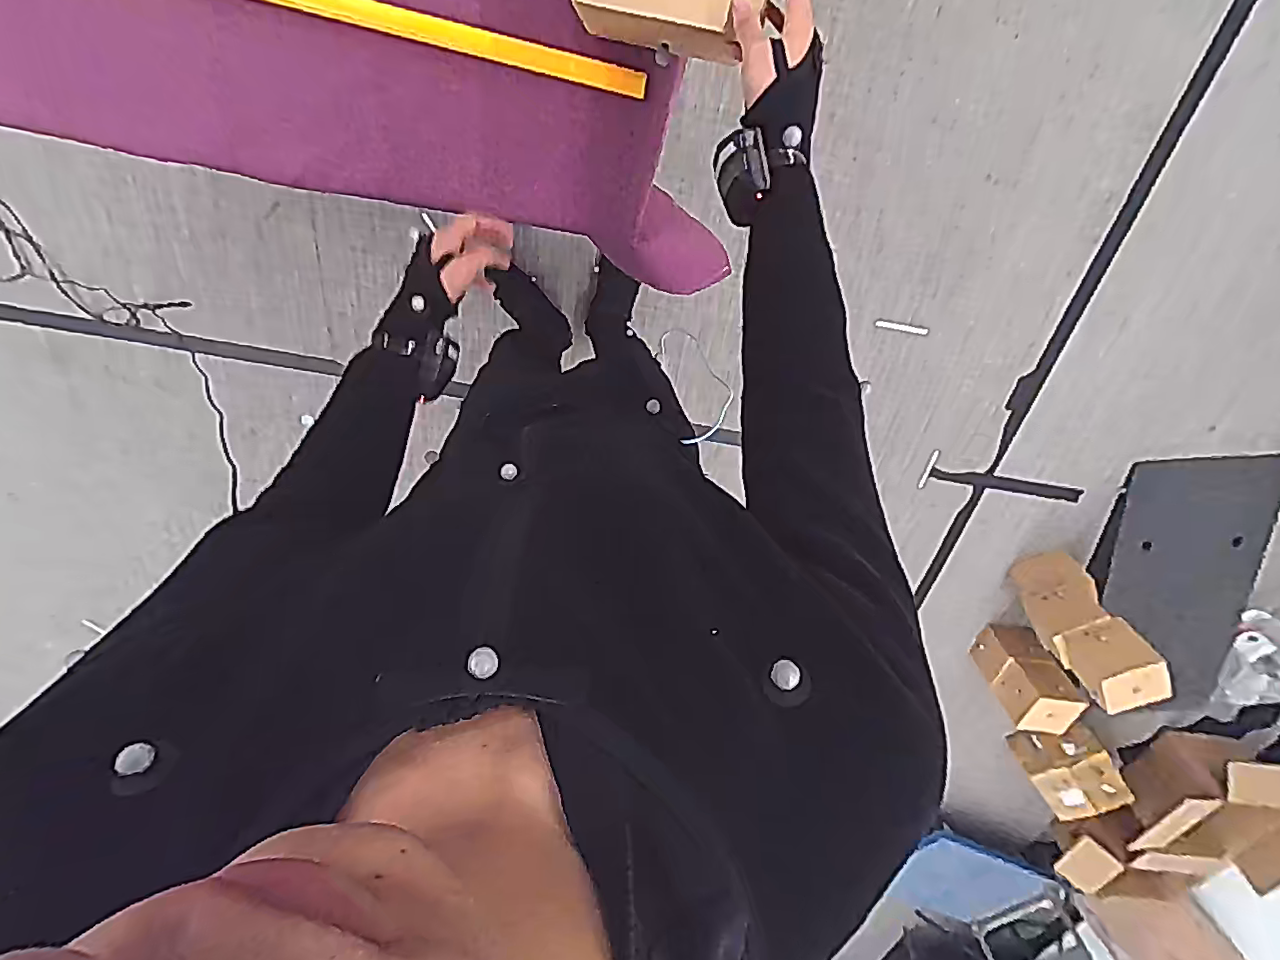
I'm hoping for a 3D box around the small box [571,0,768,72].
[{"bbox_3d":[0.037,-0.518,0.525,0.179,0.176,0.168,9,121,-4],"label":"small box"}]
